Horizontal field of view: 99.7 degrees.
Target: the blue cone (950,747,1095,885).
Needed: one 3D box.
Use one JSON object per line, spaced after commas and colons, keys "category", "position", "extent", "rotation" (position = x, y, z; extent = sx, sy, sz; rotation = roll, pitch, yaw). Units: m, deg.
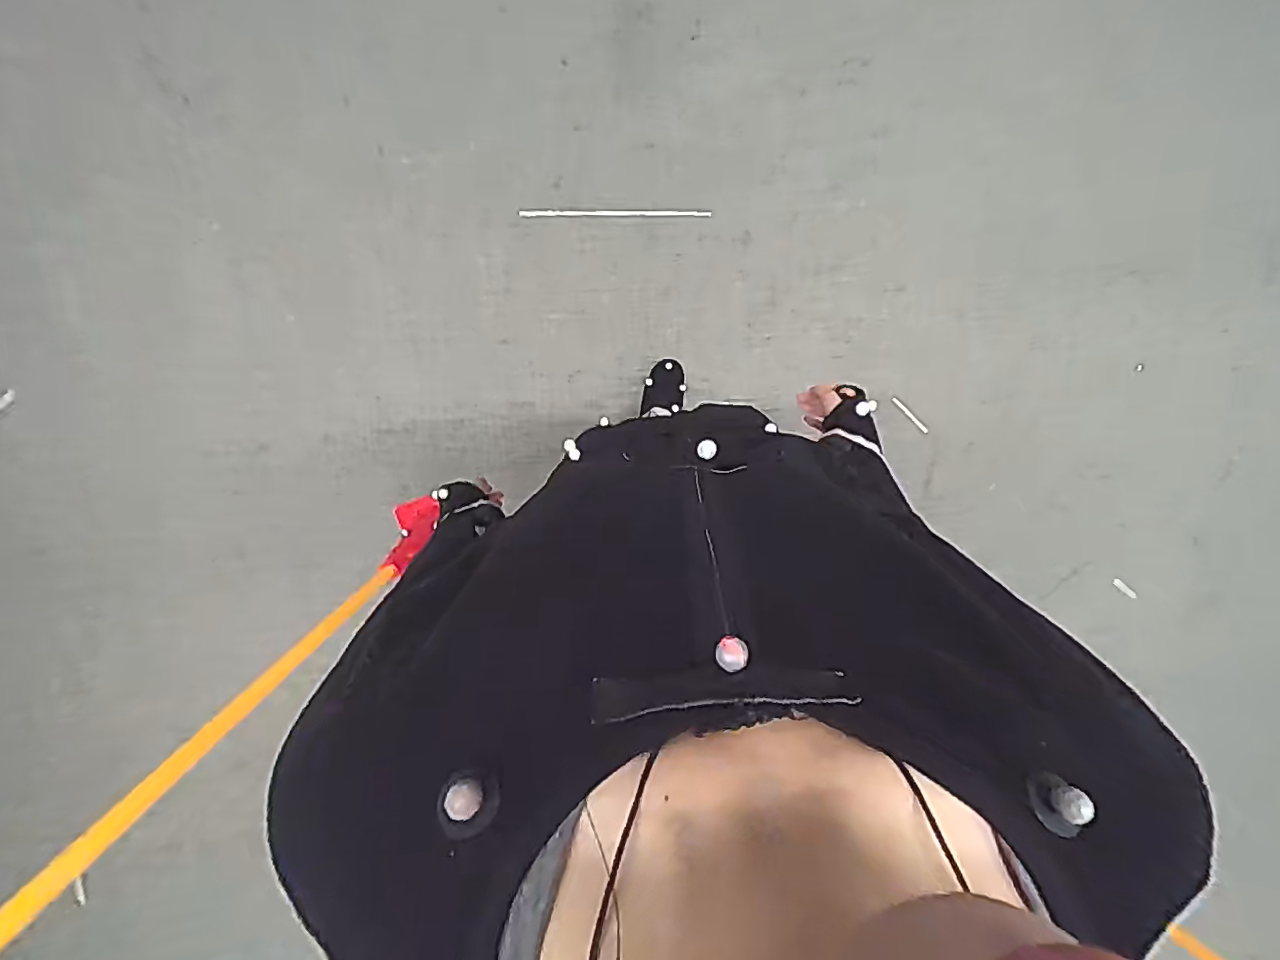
{"category": "blue cone", "position": [1.083, 0.954, 1.511], "extent": [0.192, 0.380, 0.193], "rotation": [43, 91, -7]}
